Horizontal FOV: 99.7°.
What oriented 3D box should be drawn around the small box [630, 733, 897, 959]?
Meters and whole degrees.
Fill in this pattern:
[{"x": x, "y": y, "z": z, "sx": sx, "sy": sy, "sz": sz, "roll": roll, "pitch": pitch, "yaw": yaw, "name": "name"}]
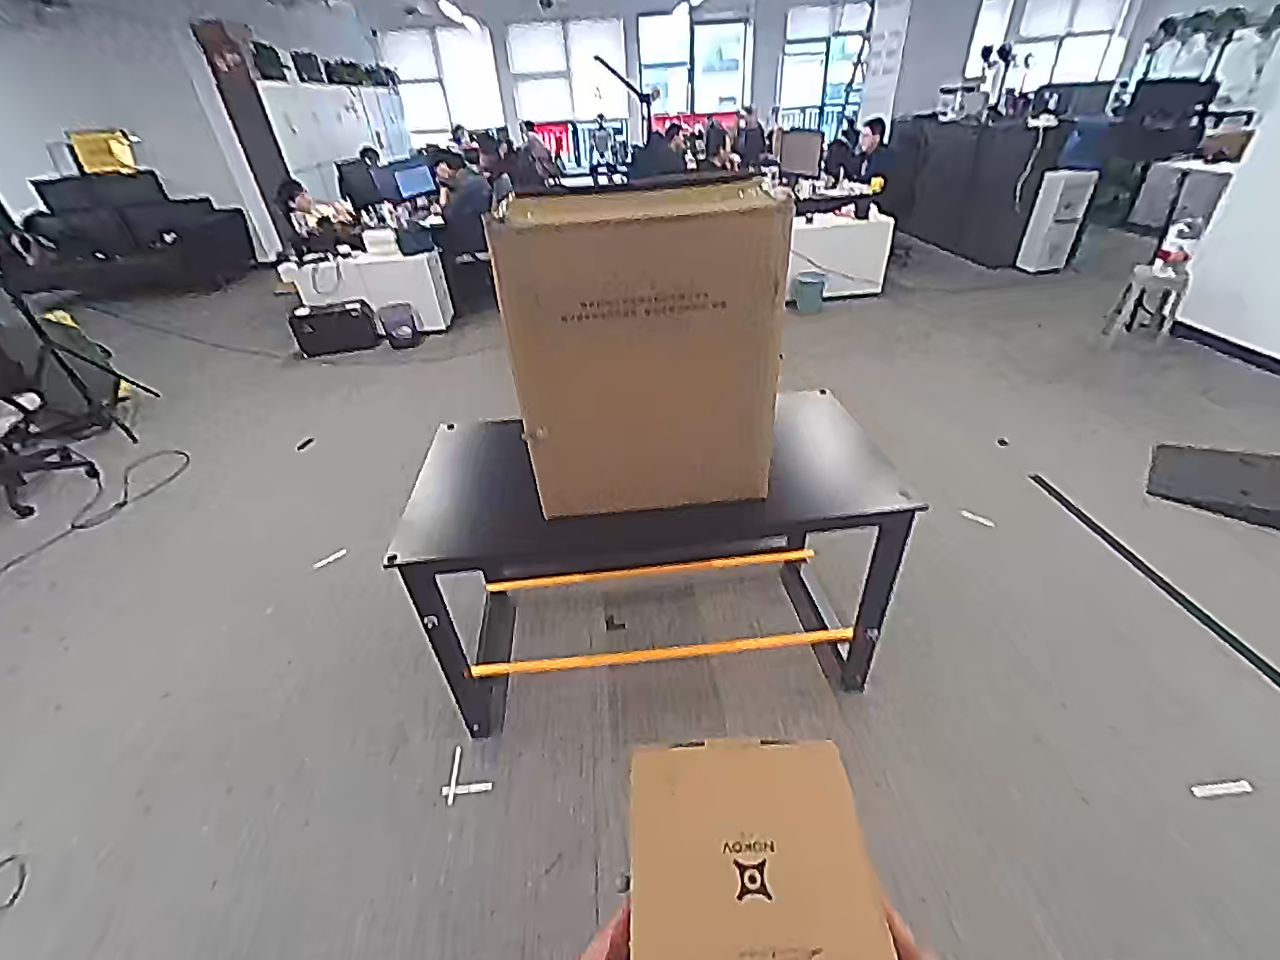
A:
[{"x": 0.077, "y": 0.321, "z": 0.419, "sx": 0.168, "sy": 0.176, "sz": 0.179, "roll": -2, "pitch": 41, "yaw": 1, "name": "small box"}]
